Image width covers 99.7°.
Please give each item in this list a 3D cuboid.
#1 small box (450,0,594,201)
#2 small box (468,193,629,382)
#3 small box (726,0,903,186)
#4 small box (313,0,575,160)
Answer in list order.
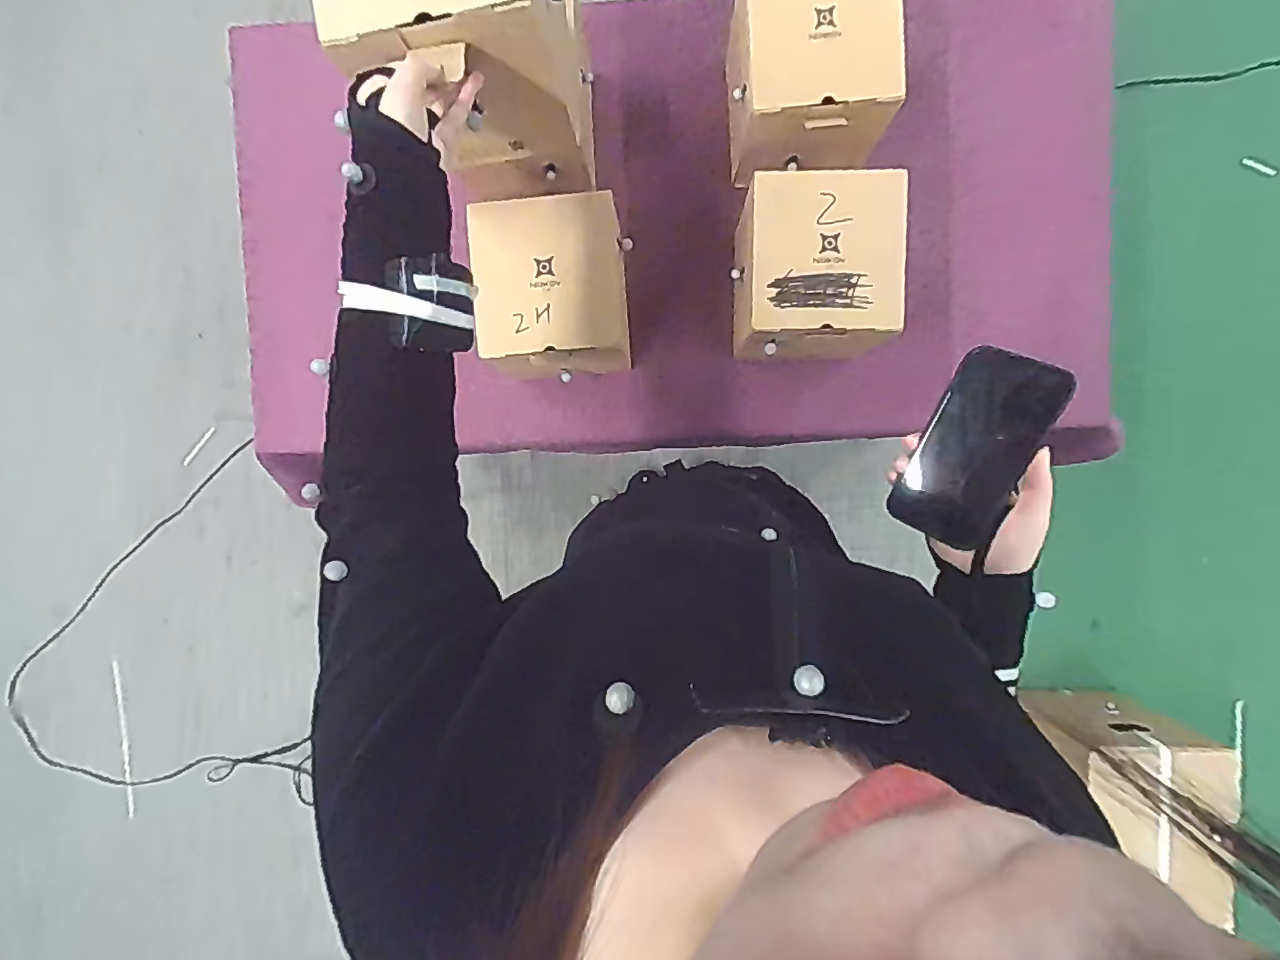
[{"bbox_3d":[-0.150,-0.469,0.677,0.168,0.176,0.179,-2,92,2],"label":"small box"},{"bbox_3d":[-0.104,-0.229,0.684,0.168,0.176,0.179,-4,92,3],"label":"small box"},{"bbox_3d":[0.199,-0.492,0.659,0.168,0.176,0.179,-4,94,3],"label":"small box"},{"bbox_3d":[-0.160,-0.413,0.477,0.168,0.176,0.179,-6,89,5],"label":"small box"}]
